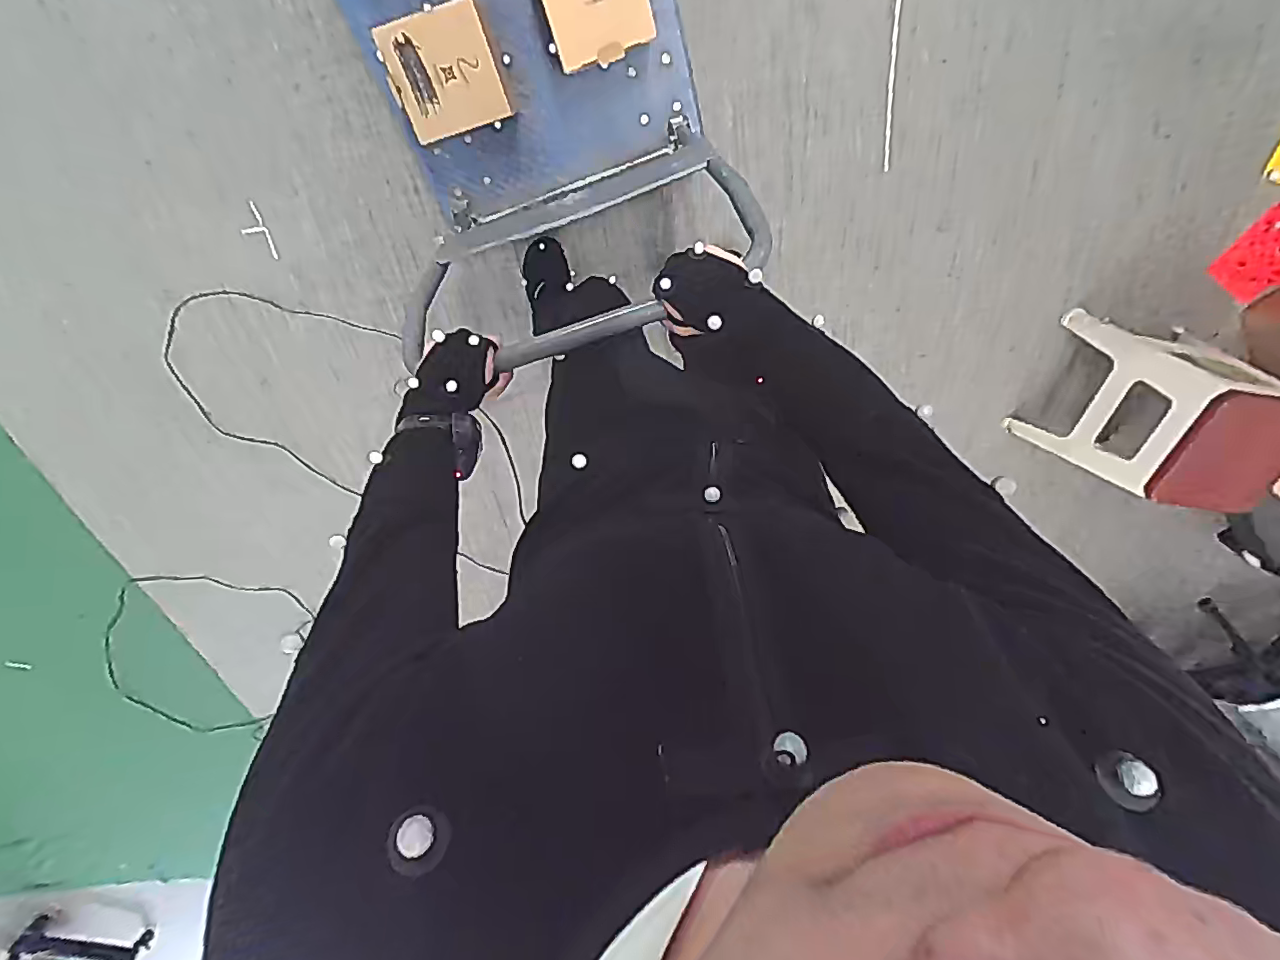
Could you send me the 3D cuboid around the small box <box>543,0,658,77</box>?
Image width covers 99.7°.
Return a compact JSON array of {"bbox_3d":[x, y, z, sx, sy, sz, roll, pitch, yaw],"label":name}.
[{"bbox_3d":[-0.078,-0.816,0.920,0.168,0.176,0.179,-17,128,7],"label":"small box"}]
